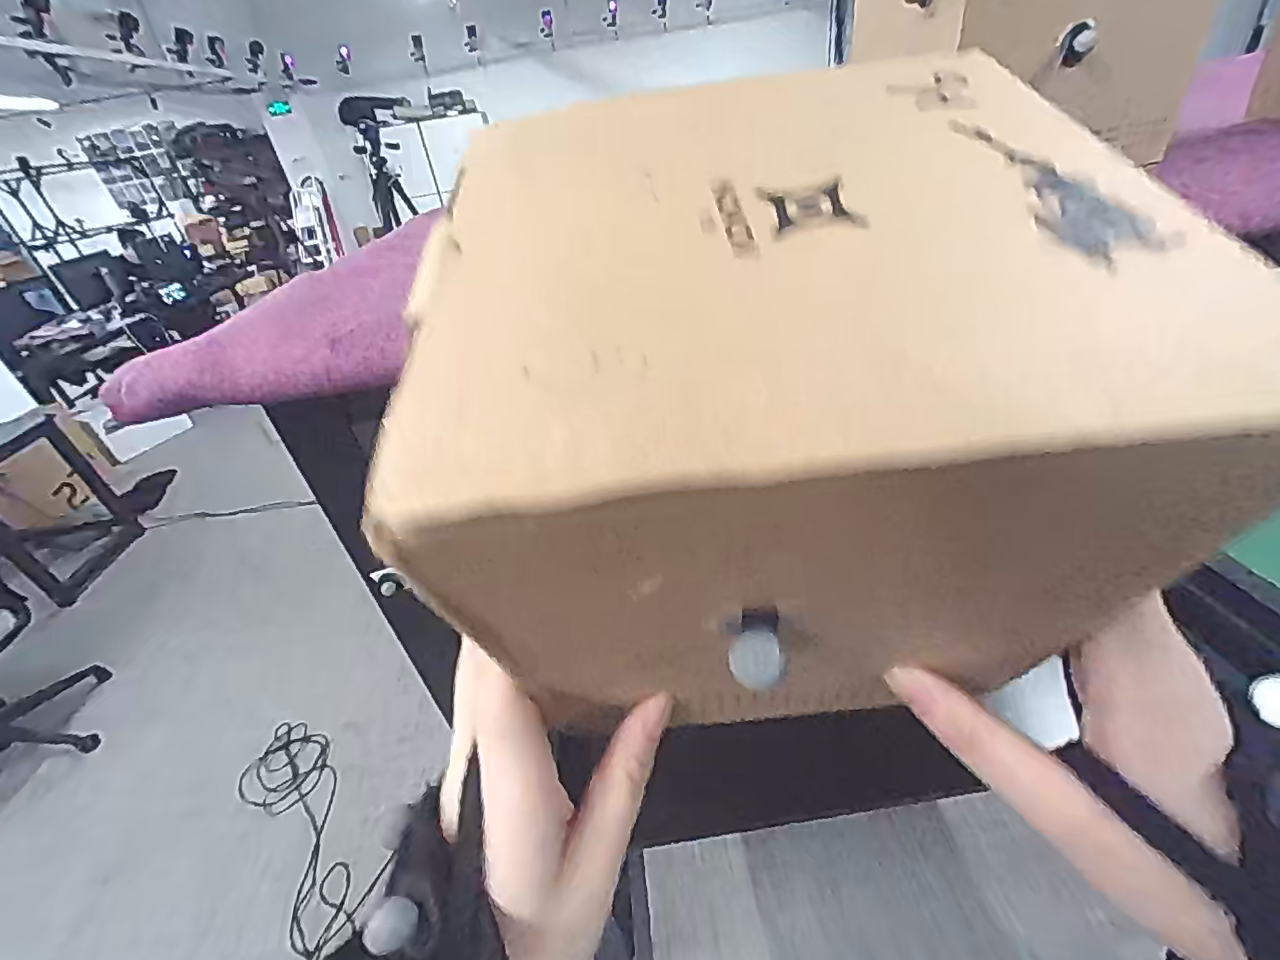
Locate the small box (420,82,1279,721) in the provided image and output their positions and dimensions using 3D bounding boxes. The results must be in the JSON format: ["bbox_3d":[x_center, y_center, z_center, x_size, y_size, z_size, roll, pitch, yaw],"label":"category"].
[{"bbox_3d":[0.047,-0.013,0.210,0.179,0.176,0.168,-6,56,3],"label":"small box"}]

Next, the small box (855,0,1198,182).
[{"bbox_3d":[0.283,-0.326,0.424,0.168,0.176,0.179,-8,33,0],"label":"small box"}]
